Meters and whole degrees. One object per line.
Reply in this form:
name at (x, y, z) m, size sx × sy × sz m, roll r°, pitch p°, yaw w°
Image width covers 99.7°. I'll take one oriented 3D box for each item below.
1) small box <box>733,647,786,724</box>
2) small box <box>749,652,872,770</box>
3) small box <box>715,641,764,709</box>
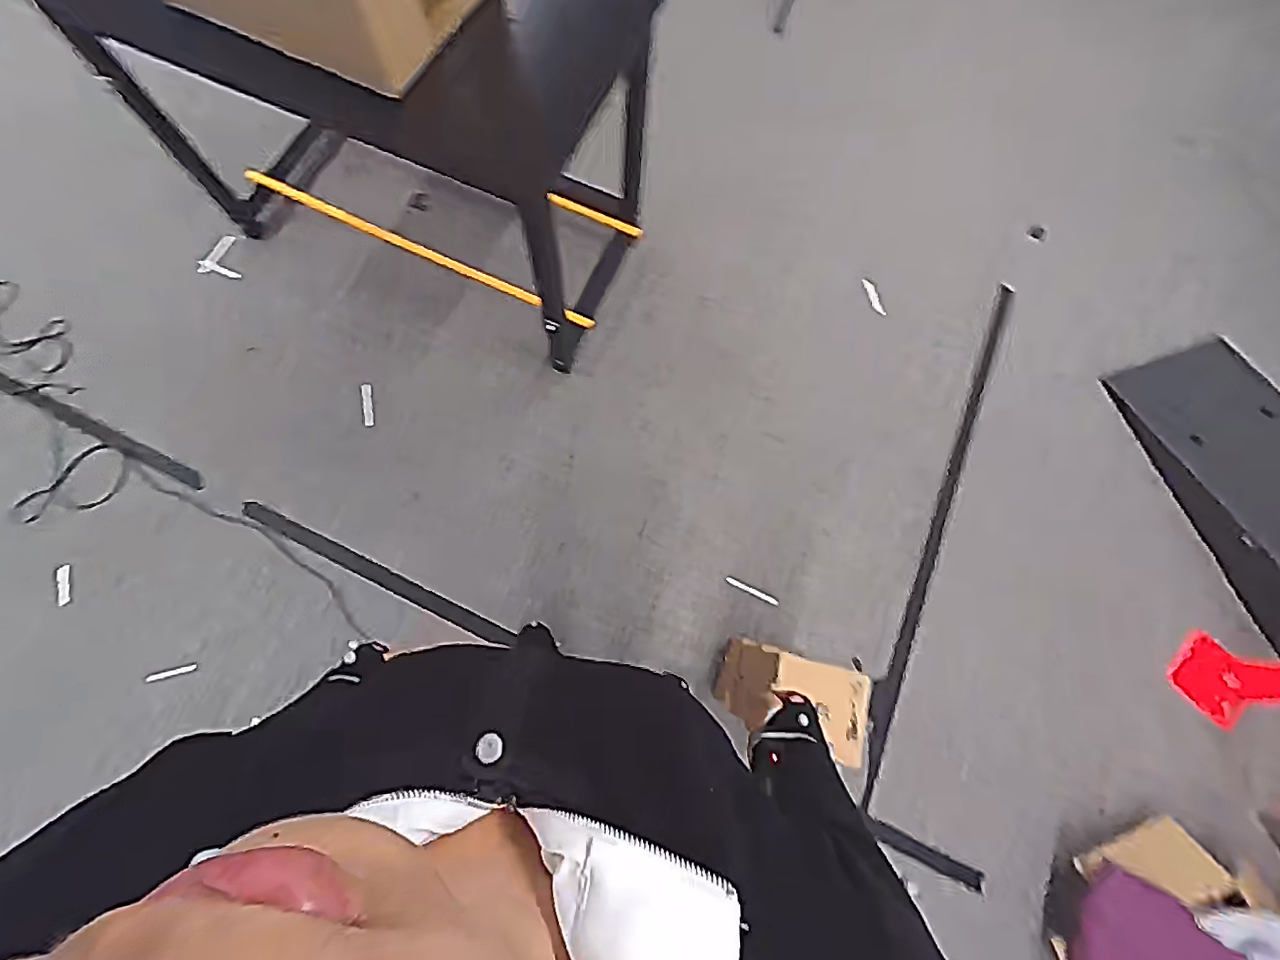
small box at (0.327, 0.485, 1.228) m, size 0.179 × 0.176 × 0.168 m, roll 17°, pitch 72°, yaw 2°
small box at (0.327, 0.447, 1.068) m, size 0.179 × 0.176 × 0.168 m, roll 15°, pitch 73°, yaw 2°
small box at (0.309, 0.523, 1.388) m, size 0.179 × 0.176 × 0.168 m, roll 21°, pitch 73°, yaw 5°
